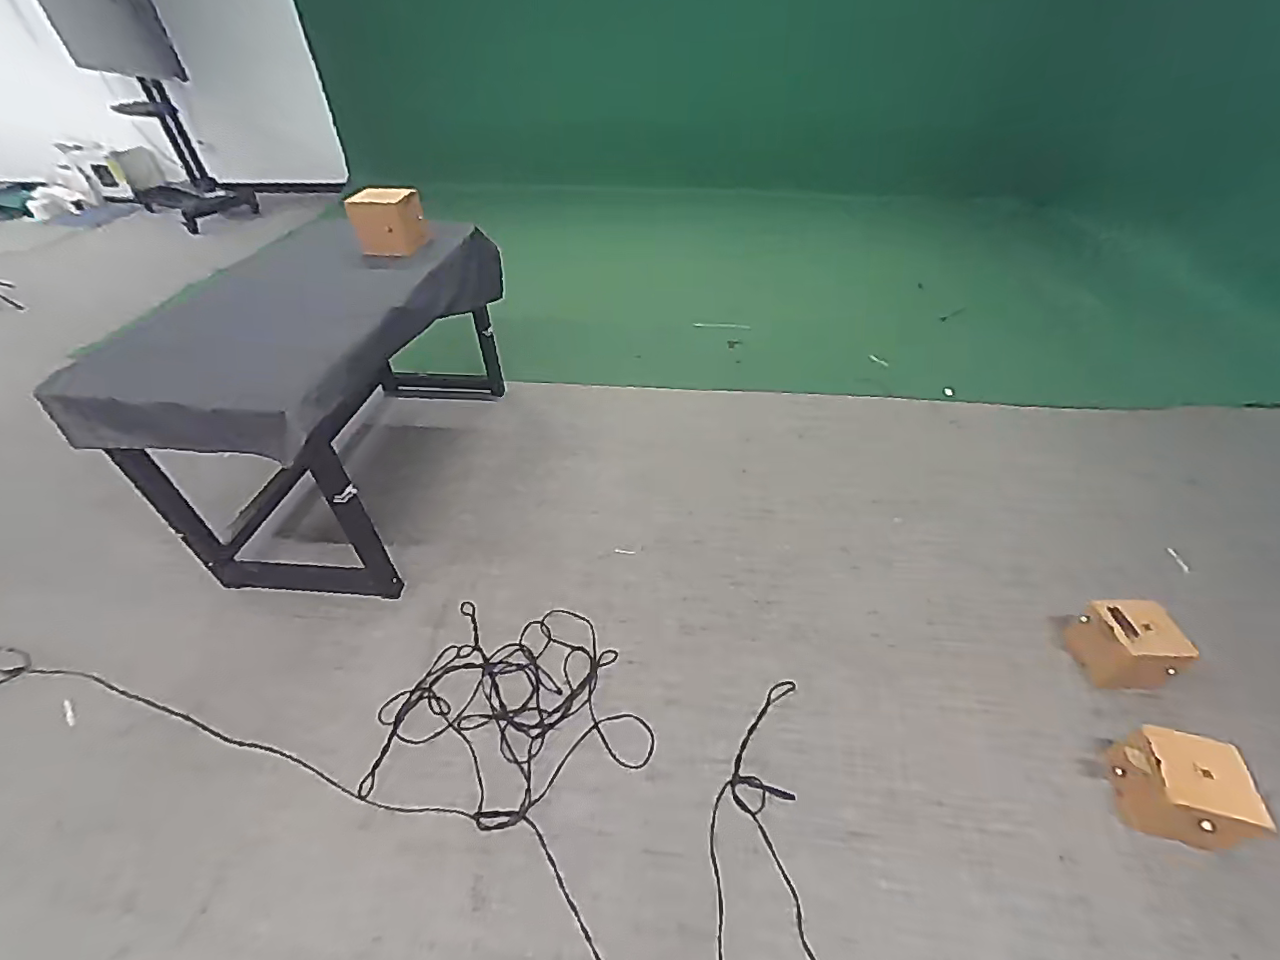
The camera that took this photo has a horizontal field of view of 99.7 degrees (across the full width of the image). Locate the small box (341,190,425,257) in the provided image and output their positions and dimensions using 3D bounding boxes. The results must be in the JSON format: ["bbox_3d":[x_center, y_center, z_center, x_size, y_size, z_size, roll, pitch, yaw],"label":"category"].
[{"bbox_3d":[-0.846,-0.855,1.805,0.179,0.176,0.168,3,41,6],"label":"small box"}]

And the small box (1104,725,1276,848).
[{"bbox_3d":[1.168,0.665,1.167,0.179,0.176,0.168,10,44,13],"label":"small box"}]
